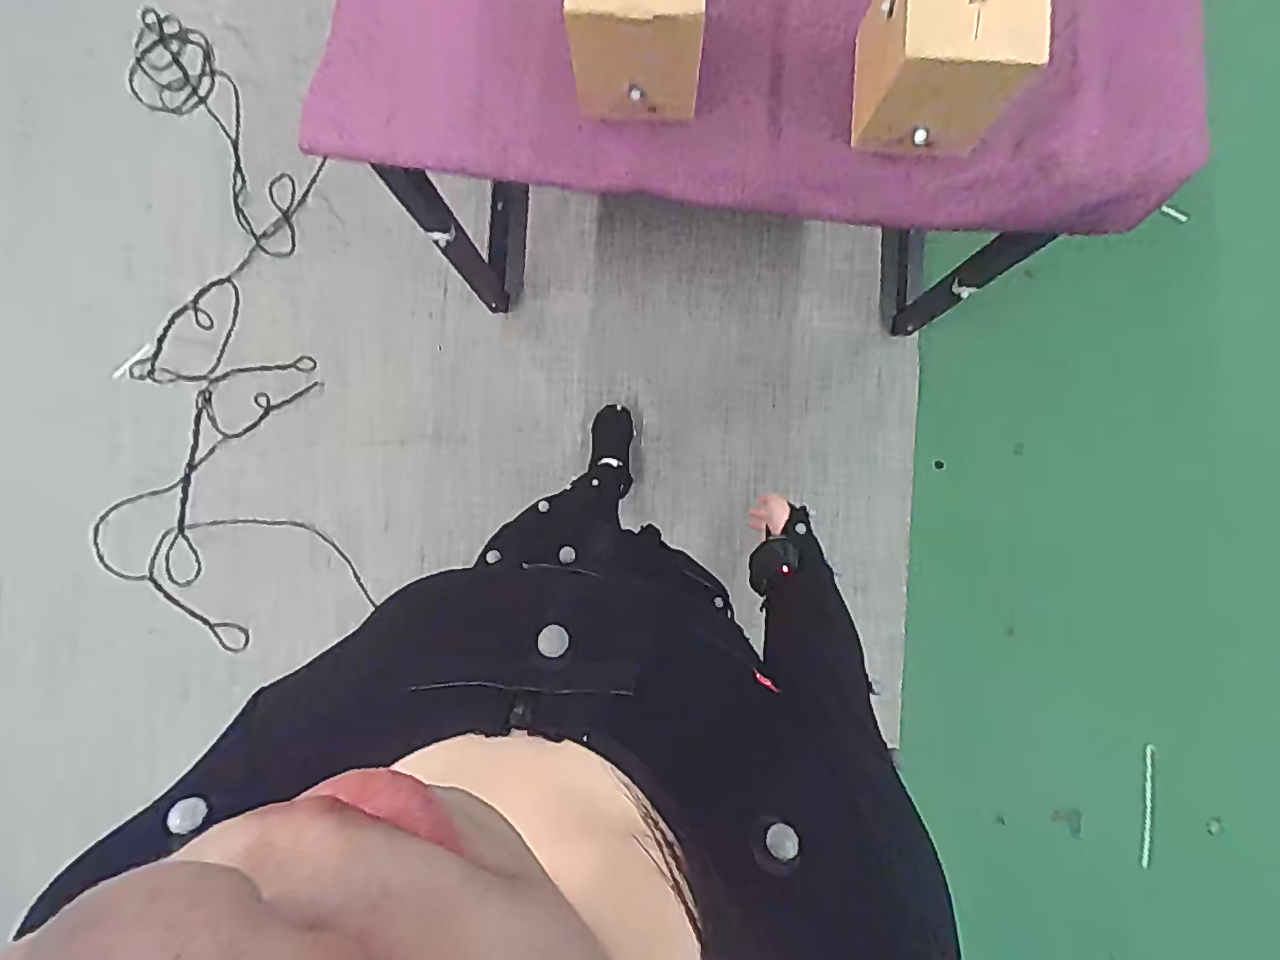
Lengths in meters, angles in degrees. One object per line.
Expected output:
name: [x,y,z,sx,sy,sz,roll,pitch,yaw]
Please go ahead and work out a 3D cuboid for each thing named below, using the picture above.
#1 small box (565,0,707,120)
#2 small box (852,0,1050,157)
small box: [-0.001,-0.618,0.707,0.168,0.176,0.179,2,86,1]
small box: [0.390,-0.562,0.703,0.168,0.176,0.179,4,88,1]
